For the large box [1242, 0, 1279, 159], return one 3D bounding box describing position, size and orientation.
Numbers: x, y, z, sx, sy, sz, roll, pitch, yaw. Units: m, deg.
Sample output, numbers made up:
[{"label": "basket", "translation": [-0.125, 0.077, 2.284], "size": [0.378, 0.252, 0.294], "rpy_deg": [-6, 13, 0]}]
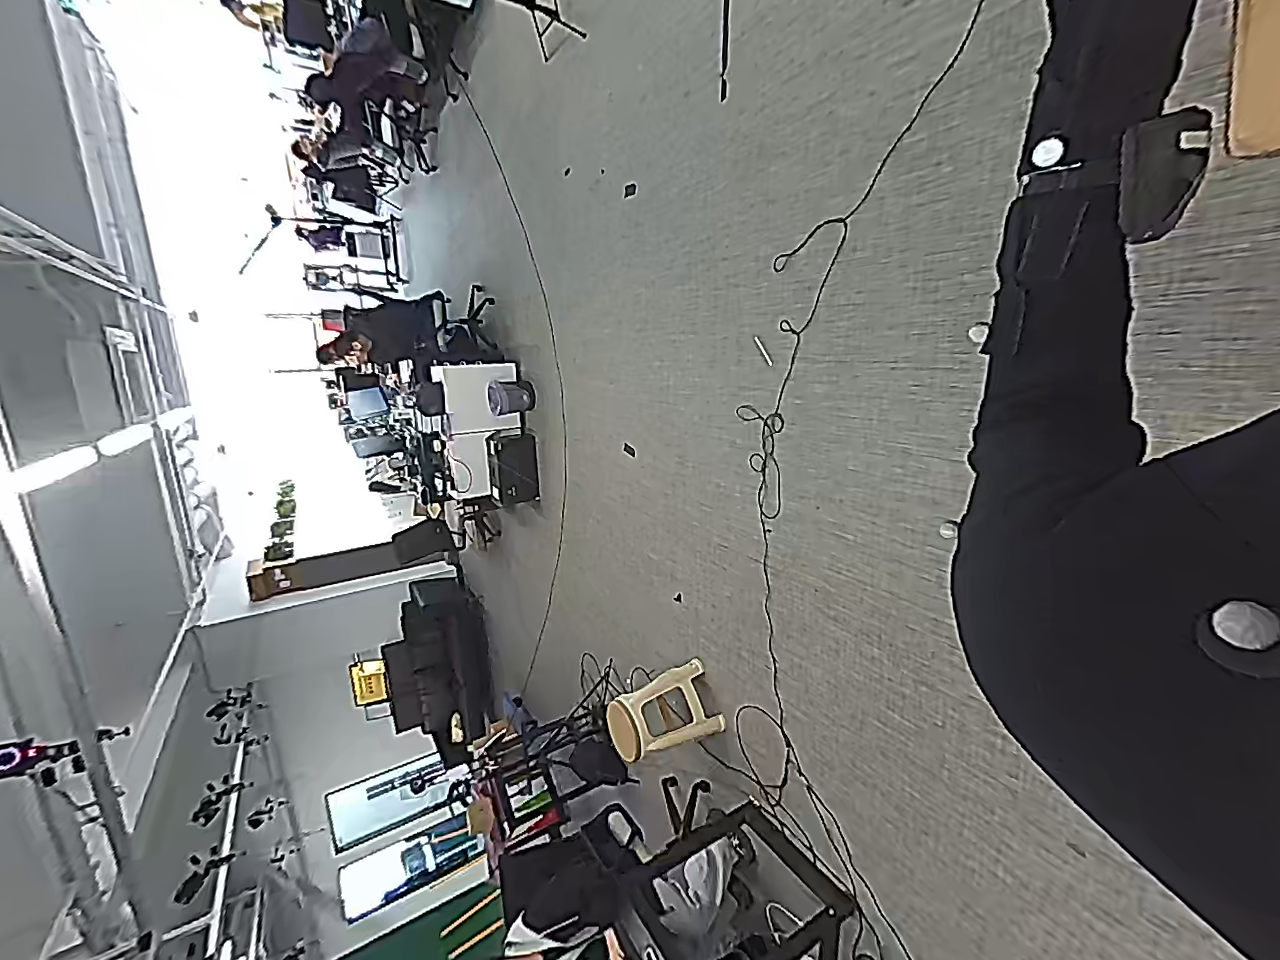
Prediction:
[{"label": "large box", "translation": [0.530, -0.349, 0.177], "size": [0.408, 0.320, 0.320], "rpy_deg": [10, 117, 56]}]
